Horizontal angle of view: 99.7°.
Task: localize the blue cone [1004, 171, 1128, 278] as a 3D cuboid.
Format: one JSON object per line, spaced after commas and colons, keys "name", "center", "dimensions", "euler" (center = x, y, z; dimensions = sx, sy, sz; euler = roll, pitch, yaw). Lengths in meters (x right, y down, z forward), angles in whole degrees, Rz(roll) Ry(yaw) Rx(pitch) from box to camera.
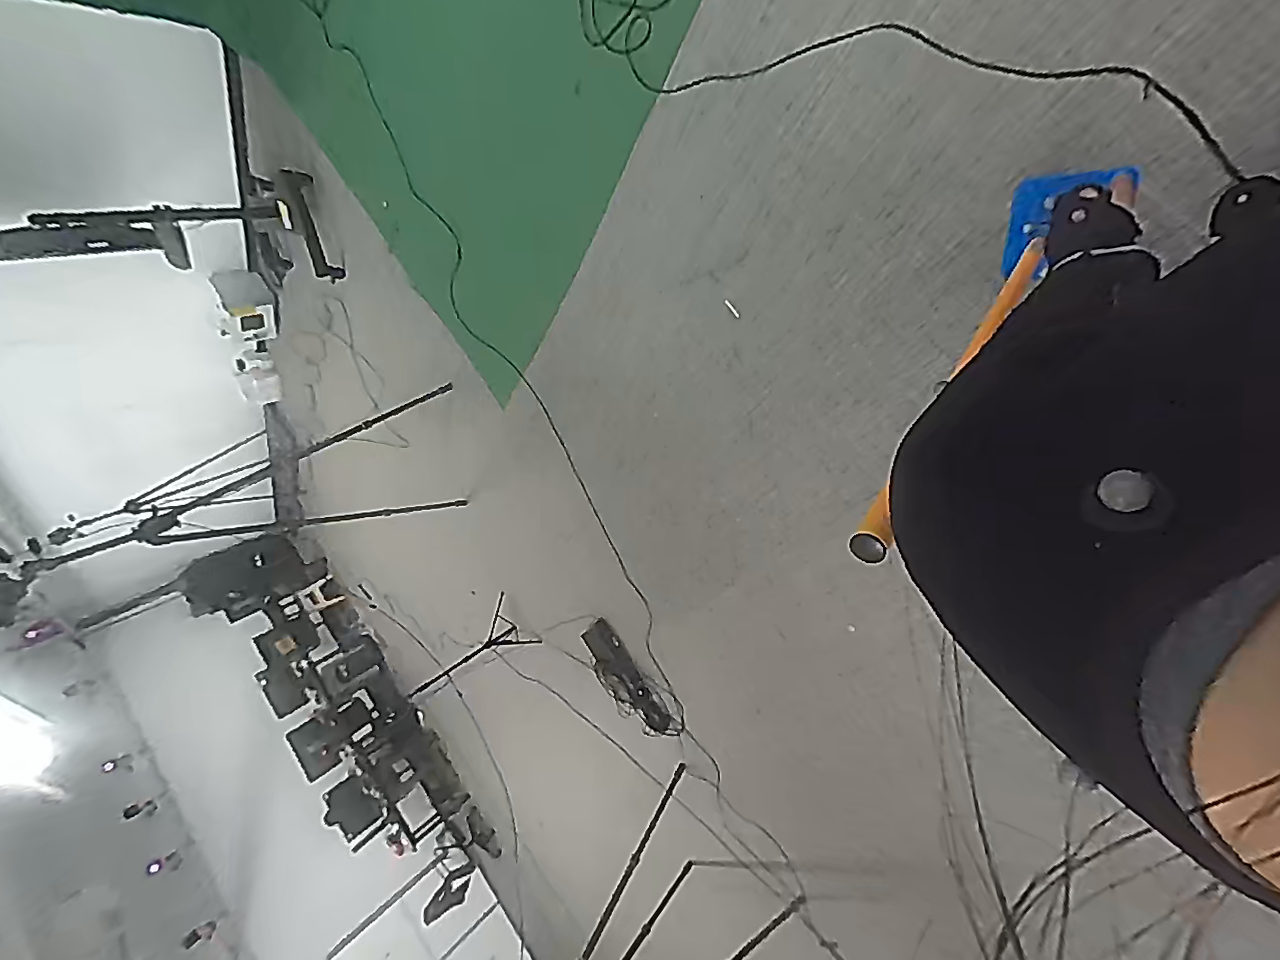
{"name": "blue cone", "center": [0.762, -0.453, 1.004], "dimensions": [0.192, 0.380, 0.193], "euler": [14, 123, 39]}
